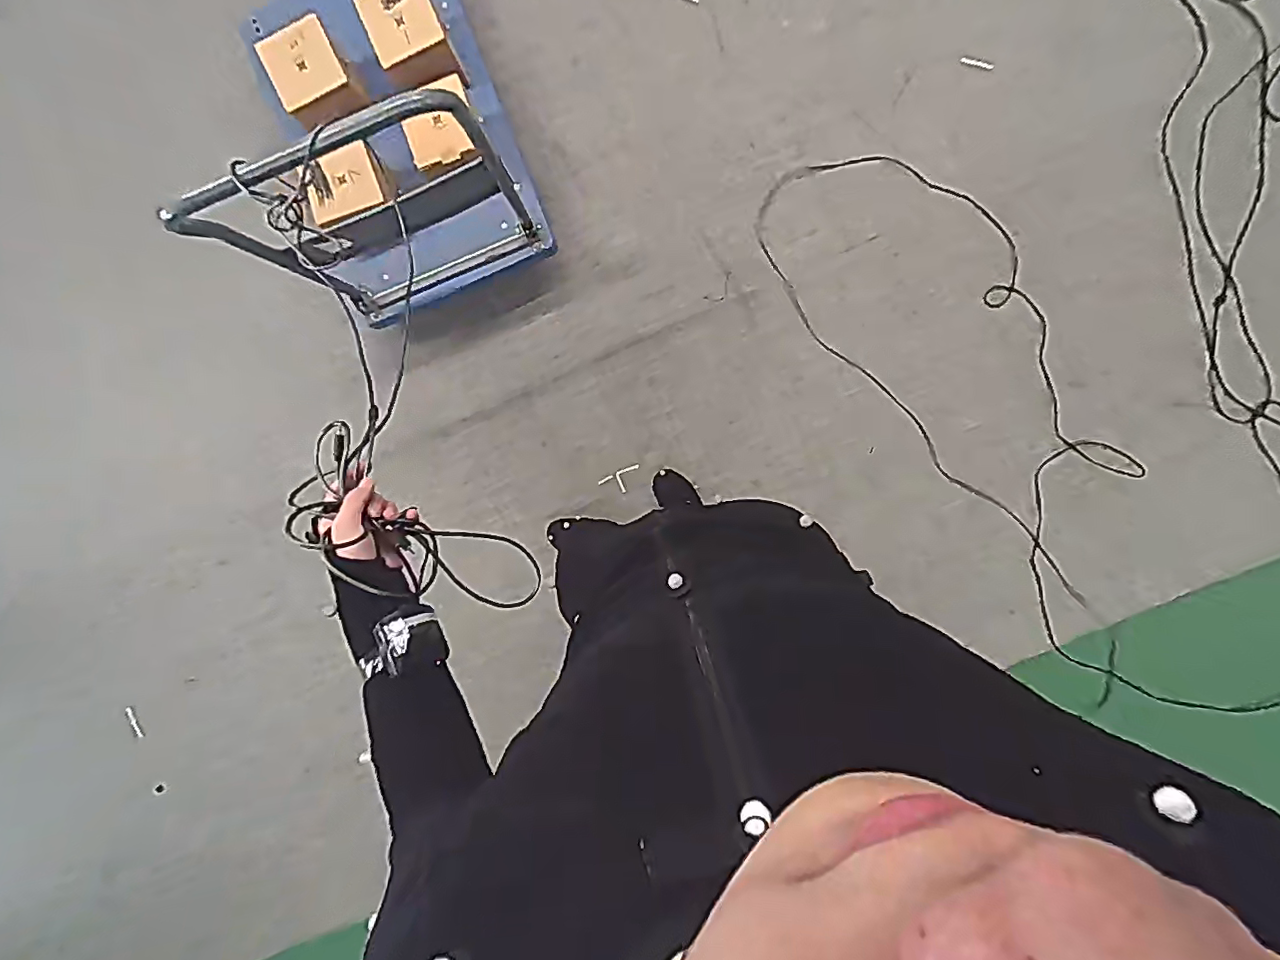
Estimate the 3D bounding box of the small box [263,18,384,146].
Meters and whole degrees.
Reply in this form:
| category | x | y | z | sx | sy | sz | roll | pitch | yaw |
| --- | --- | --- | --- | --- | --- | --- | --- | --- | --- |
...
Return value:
| category | x | y | z | sx | sy | sz | roll | pitch | yaw |
| --- | --- | --- | --- | --- | --- | --- | --- | --- | --- |
| small box | -0.781 | -0.981 | 1.356 | 0.168 | 0.176 | 0.179 | -25 | 92 | 3 |

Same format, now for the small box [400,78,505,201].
| category | x | y | z | sx | sy | sz | roll | pitch | yaw |
| --- | --- | --- | --- | --- | --- | --- | --- | --- | --- |
| small box | -0.460 | -0.840 | 1.350 | 0.168 | 0.176 | 0.179 | -19 | 93 | 4 |

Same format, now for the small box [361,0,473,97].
| category | x | y | z | sx | sy | sz | roll | pitch | yaw |
| --- | --- | --- | --- | --- | --- | --- | --- | --- | --- |
| small box | -0.543 | -1.073 | 1.338 | 0.168 | 0.176 | 0.179 | -23 | 93 | 5 |
